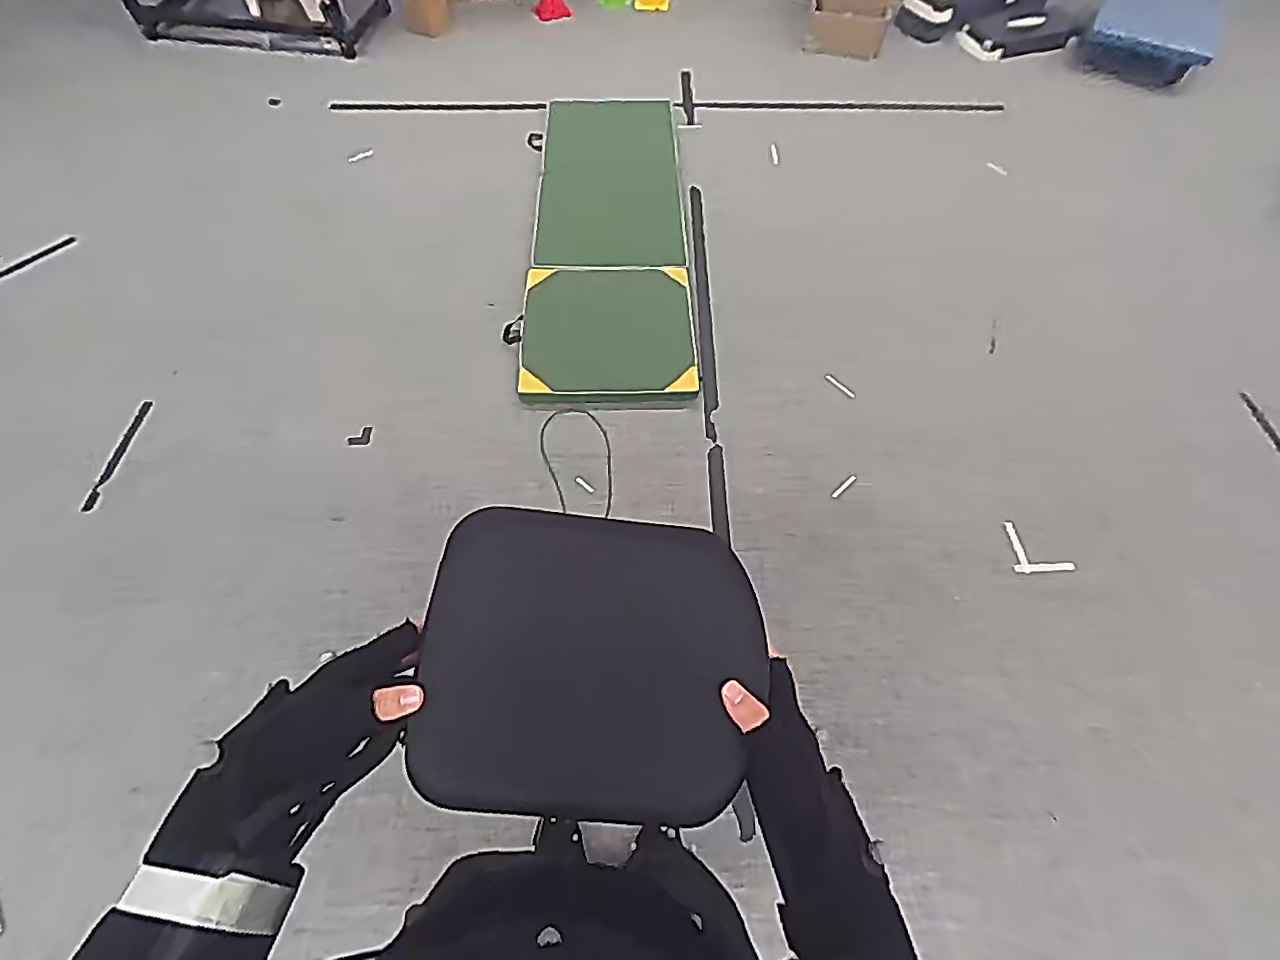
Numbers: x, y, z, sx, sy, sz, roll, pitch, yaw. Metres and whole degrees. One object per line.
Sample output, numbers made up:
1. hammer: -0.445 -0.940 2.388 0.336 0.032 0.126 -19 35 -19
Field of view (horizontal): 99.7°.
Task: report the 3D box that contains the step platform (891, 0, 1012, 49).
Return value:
1. step platform: 1.806 -2.716 3.110 0.684 0.204 0.286 -27 65 -14
